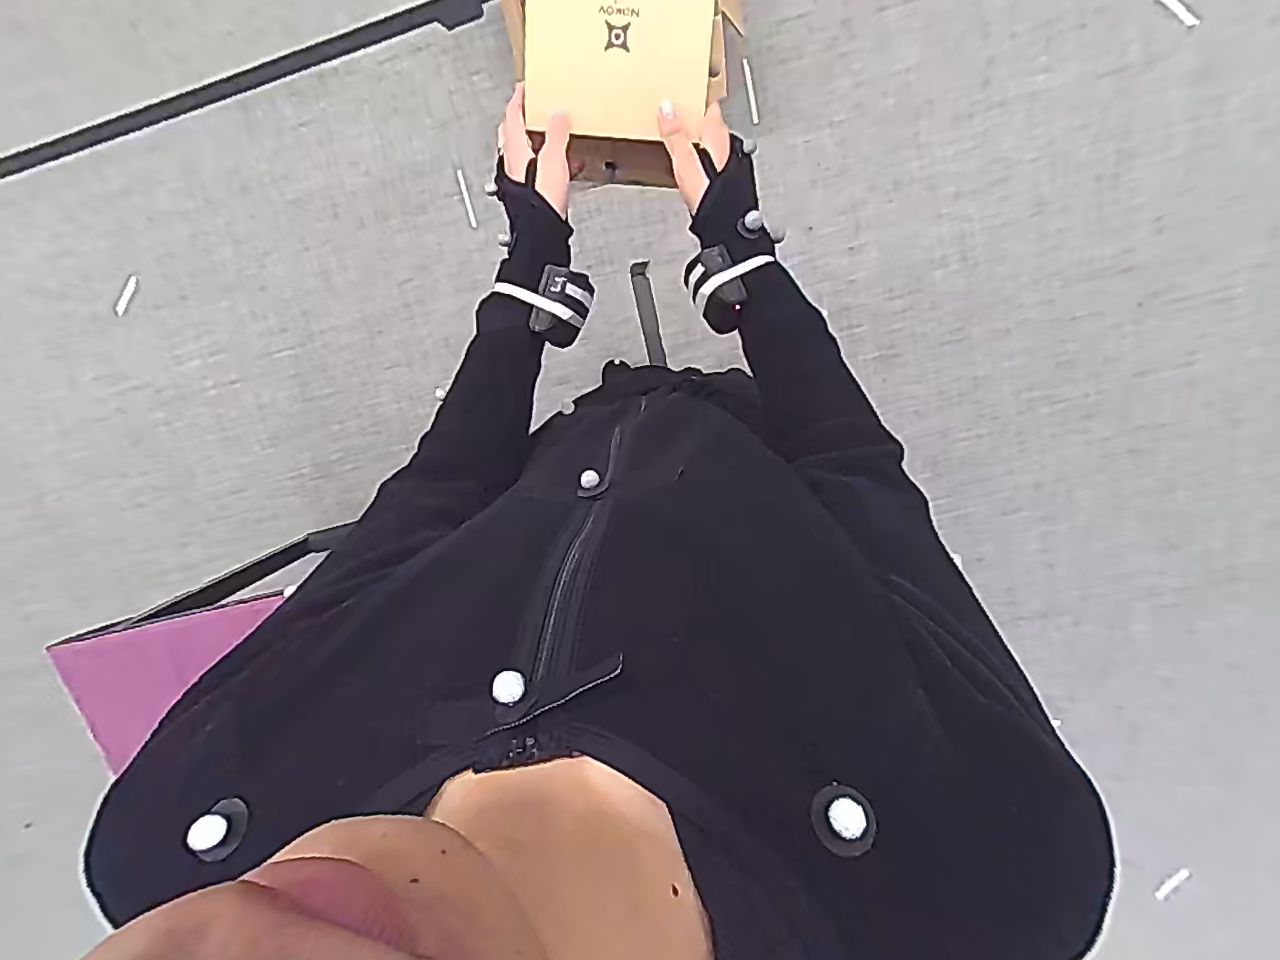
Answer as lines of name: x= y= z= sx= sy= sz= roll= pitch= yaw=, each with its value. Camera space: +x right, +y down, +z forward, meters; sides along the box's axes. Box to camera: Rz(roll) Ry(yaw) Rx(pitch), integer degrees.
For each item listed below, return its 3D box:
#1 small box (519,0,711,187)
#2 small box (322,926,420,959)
small box: x=-0.022 y=-0.411 z=0.543 sx=0.168 sy=0.176 sz=0.179 roll=3 pitch=105 yaw=-2
small box: x=-0.558 y=1.044 z=1.075 sx=0.179 sy=0.176 sz=0.168 roll=-18 pitch=101 yaw=7
